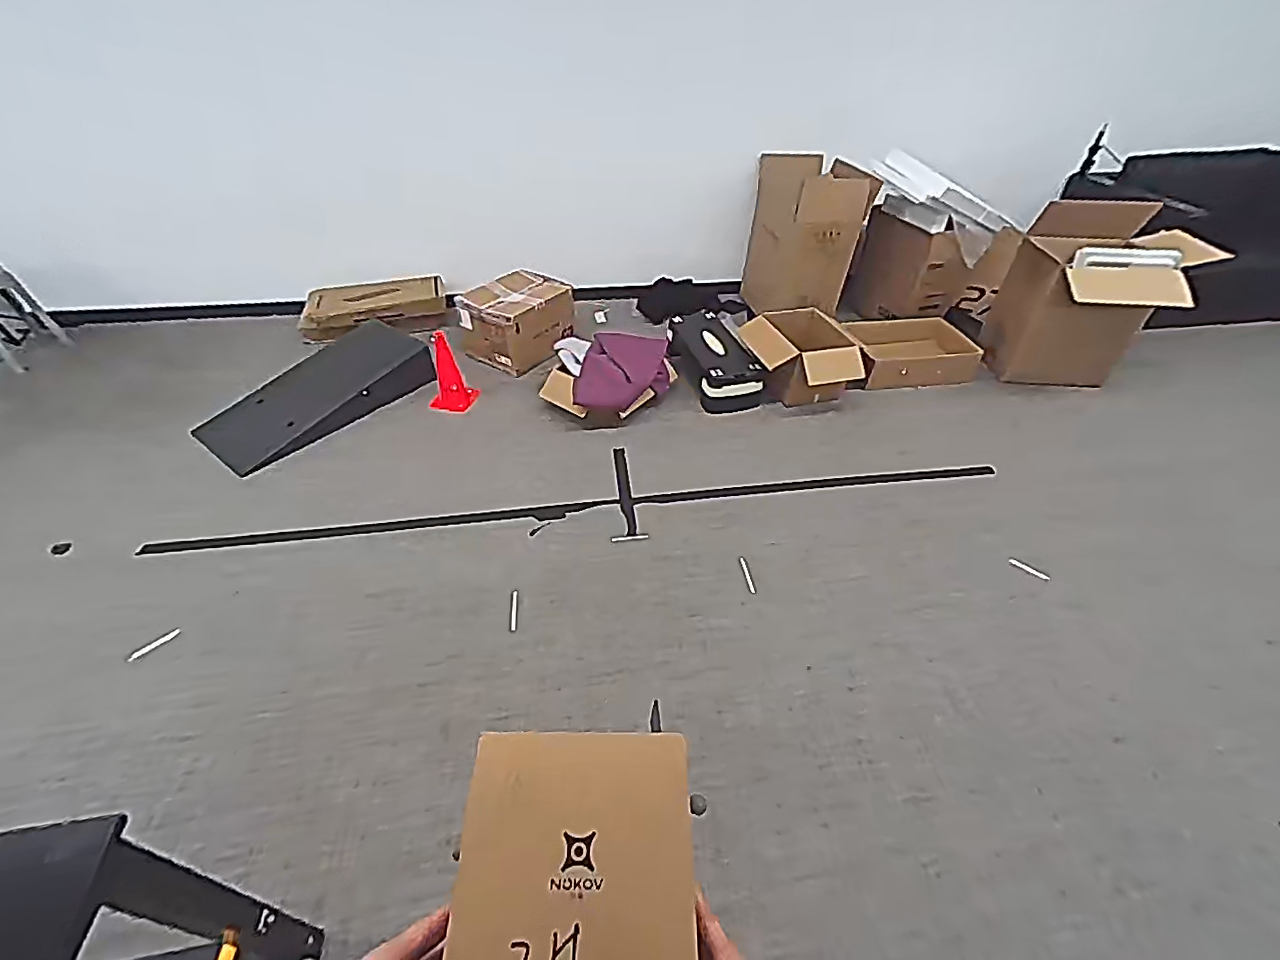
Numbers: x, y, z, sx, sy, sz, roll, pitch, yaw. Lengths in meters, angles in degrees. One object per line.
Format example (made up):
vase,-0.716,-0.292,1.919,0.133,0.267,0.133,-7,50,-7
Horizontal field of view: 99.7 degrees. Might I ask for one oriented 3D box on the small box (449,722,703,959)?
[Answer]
small box,-0.043,0.314,0.444,0.168,0.176,0.179,1,52,-1
